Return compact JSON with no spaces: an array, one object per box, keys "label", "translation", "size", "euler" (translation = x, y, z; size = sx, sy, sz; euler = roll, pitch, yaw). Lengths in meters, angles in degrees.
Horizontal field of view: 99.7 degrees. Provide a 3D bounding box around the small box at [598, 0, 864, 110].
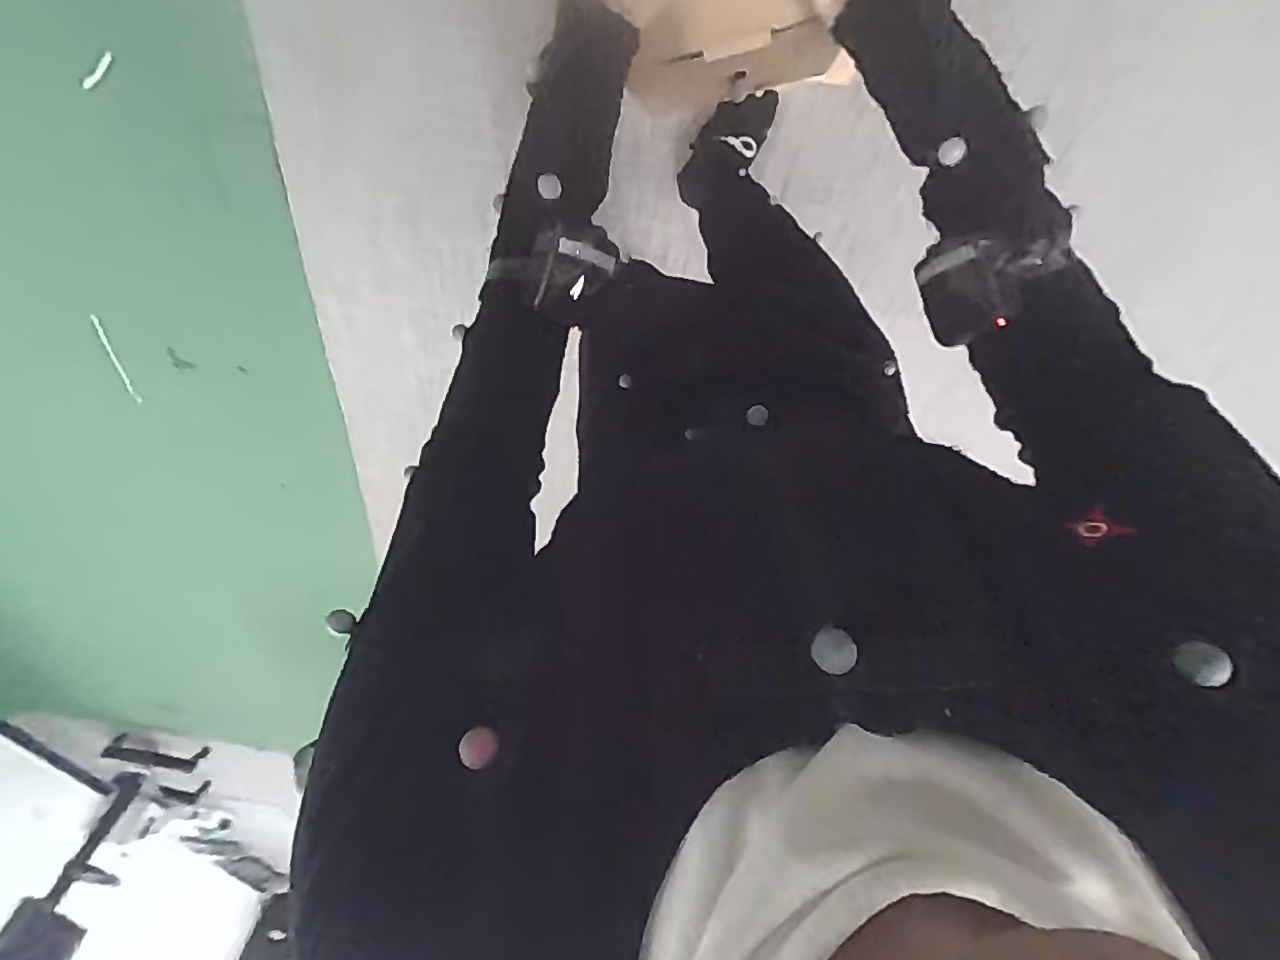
[{"label":"small box","translation":[0.059,-0.388,0.387],"size":[0.168,0.176,0.179],"euler":[-7,115,14]}]
